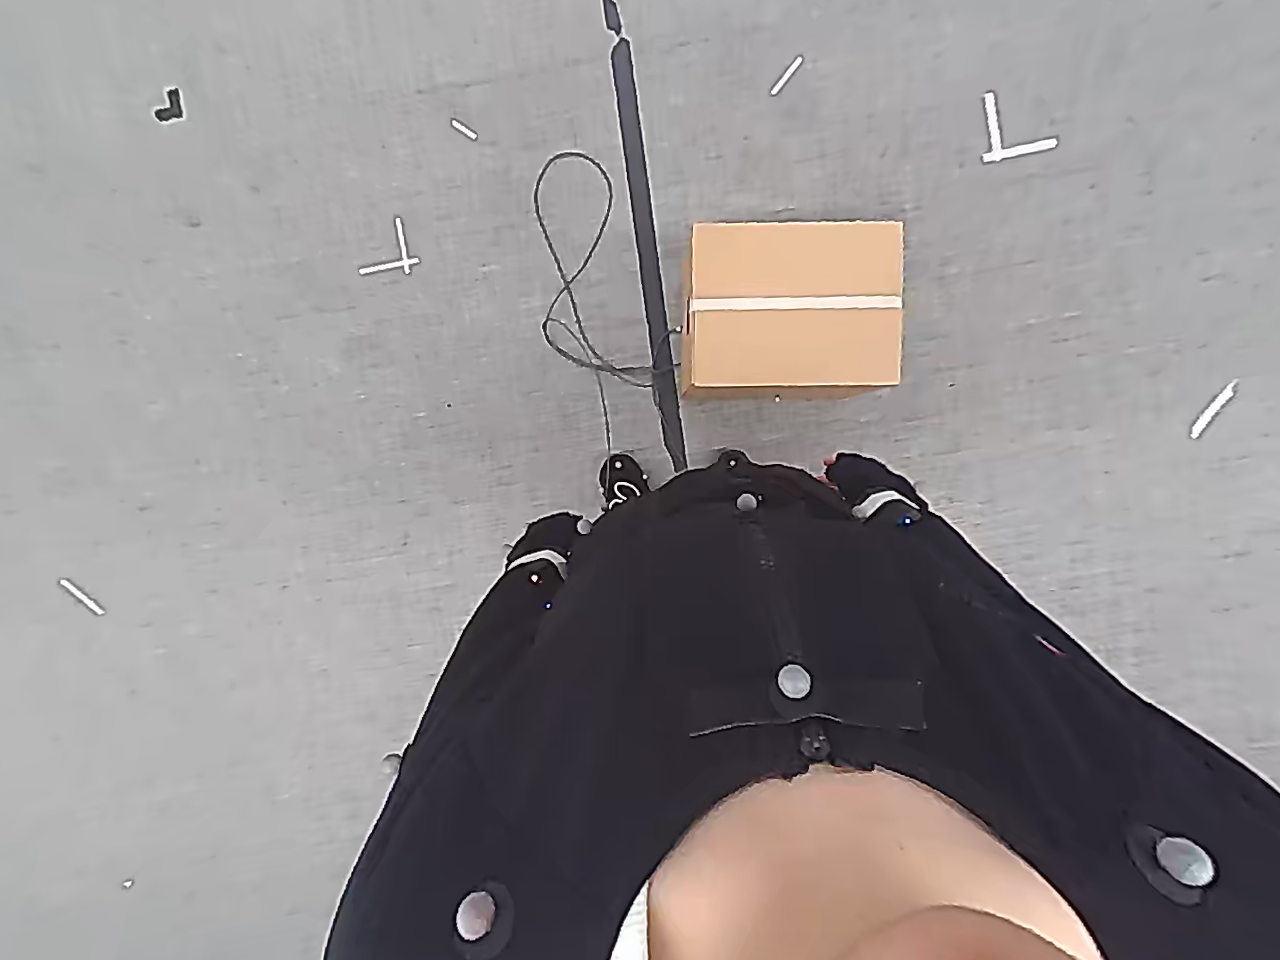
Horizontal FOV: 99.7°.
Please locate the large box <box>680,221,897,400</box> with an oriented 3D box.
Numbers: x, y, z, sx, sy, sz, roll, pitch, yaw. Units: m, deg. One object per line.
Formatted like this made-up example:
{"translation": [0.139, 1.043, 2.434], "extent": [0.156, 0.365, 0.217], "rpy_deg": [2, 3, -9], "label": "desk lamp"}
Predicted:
{"translation": [0.300, -0.351, 1.202], "extent": [0.408, 0.320, 0.320], "rpy_deg": [0, 94, 1], "label": "large box"}
